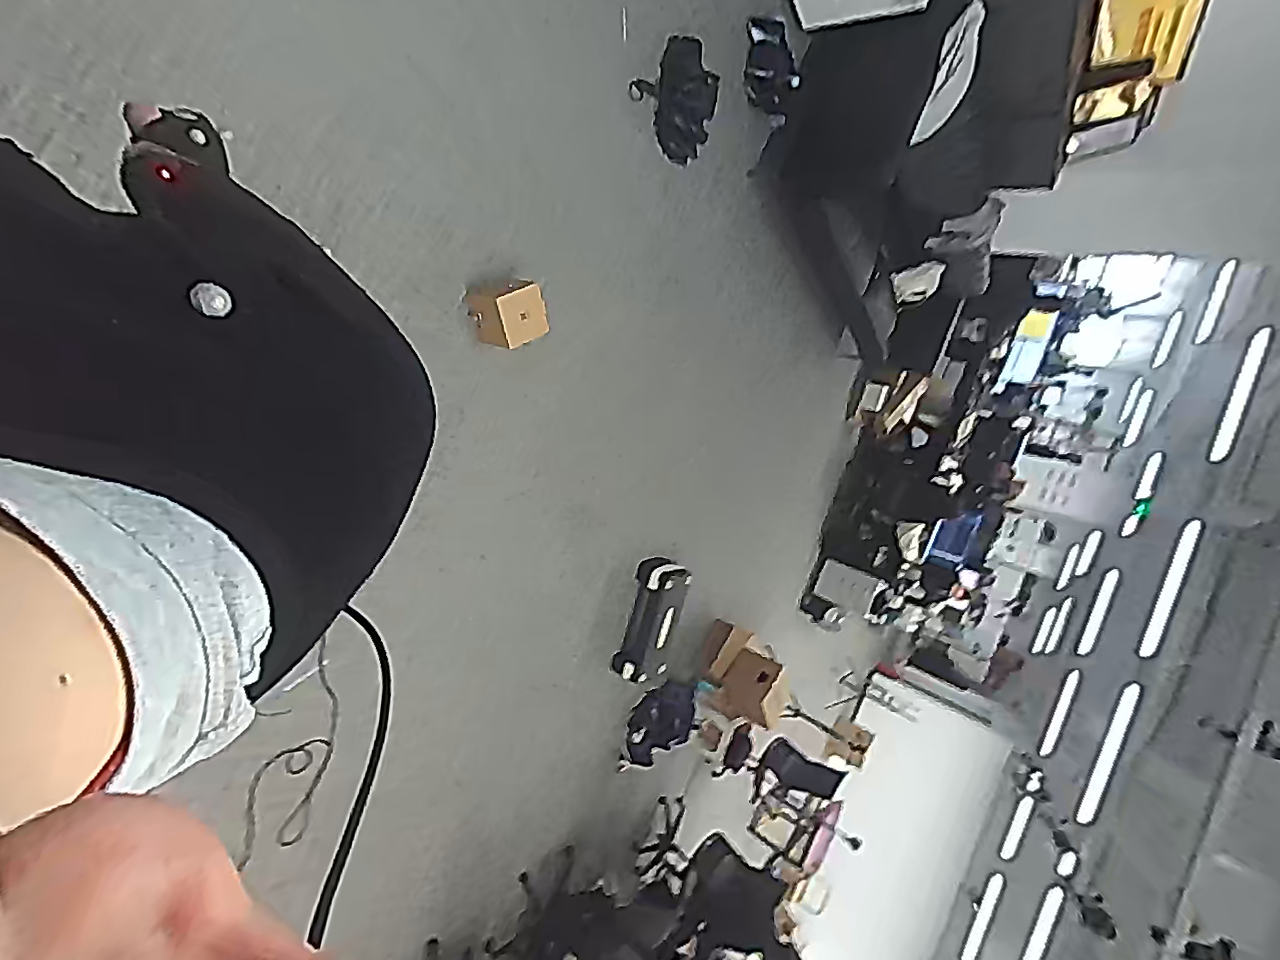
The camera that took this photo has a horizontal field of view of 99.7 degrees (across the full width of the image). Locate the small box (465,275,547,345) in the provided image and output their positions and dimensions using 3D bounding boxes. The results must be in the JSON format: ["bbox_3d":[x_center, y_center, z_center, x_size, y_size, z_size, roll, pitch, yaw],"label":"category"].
[{"bbox_3d":[-0.436,-0.559,1.763,0.179,0.176,0.168,-39,134,-34],"label":"small box"}]
